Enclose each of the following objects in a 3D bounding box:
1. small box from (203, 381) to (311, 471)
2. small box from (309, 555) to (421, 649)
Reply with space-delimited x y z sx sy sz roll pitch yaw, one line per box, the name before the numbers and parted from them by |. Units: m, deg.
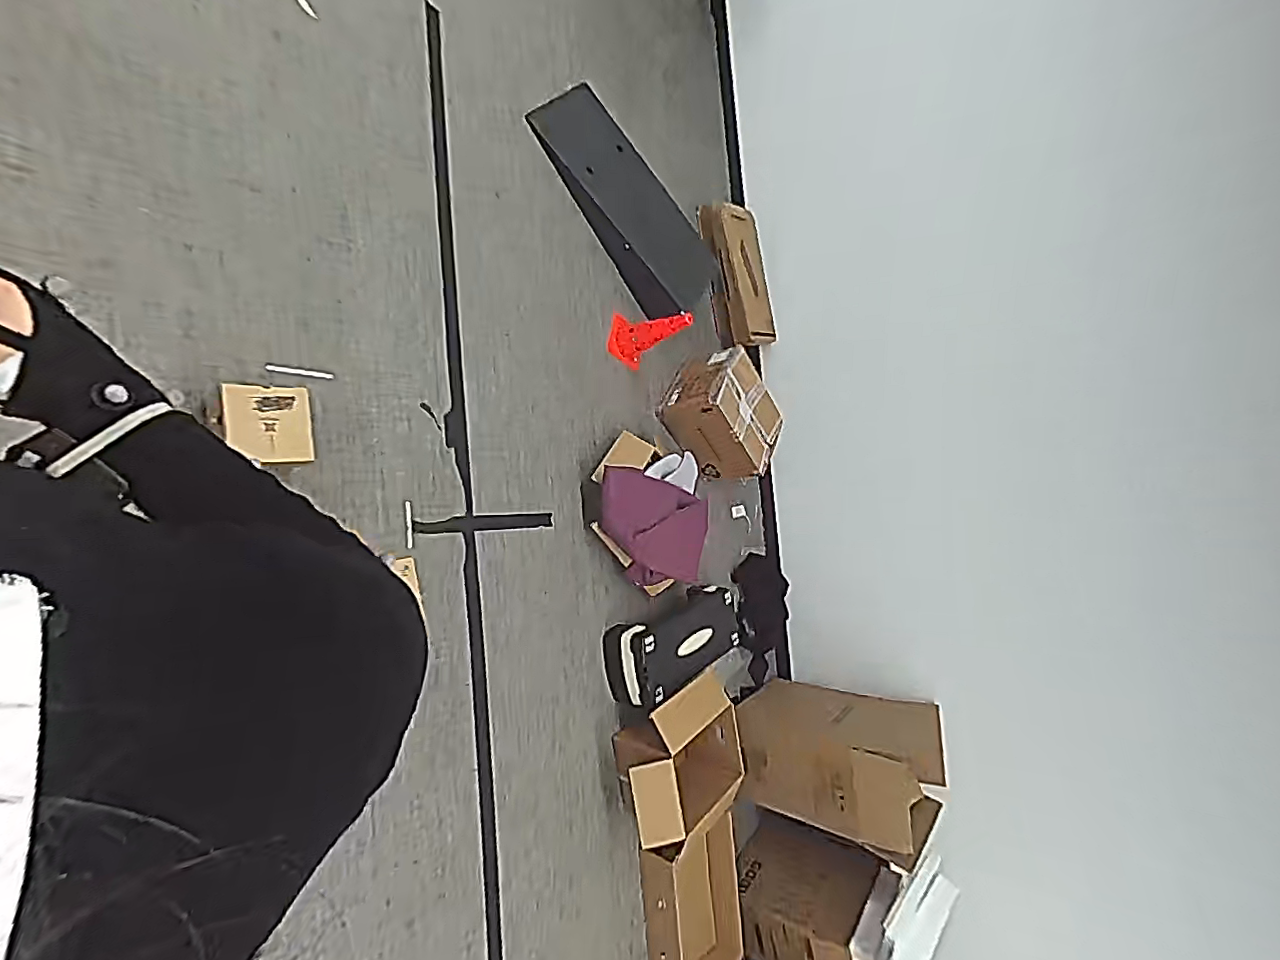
small box | -0.887 -0.120 1.251 0.168 0.176 0.179 -5 88 -49
small box | -0.633 0.271 1.235 0.179 0.176 0.168 -11 93 -48
